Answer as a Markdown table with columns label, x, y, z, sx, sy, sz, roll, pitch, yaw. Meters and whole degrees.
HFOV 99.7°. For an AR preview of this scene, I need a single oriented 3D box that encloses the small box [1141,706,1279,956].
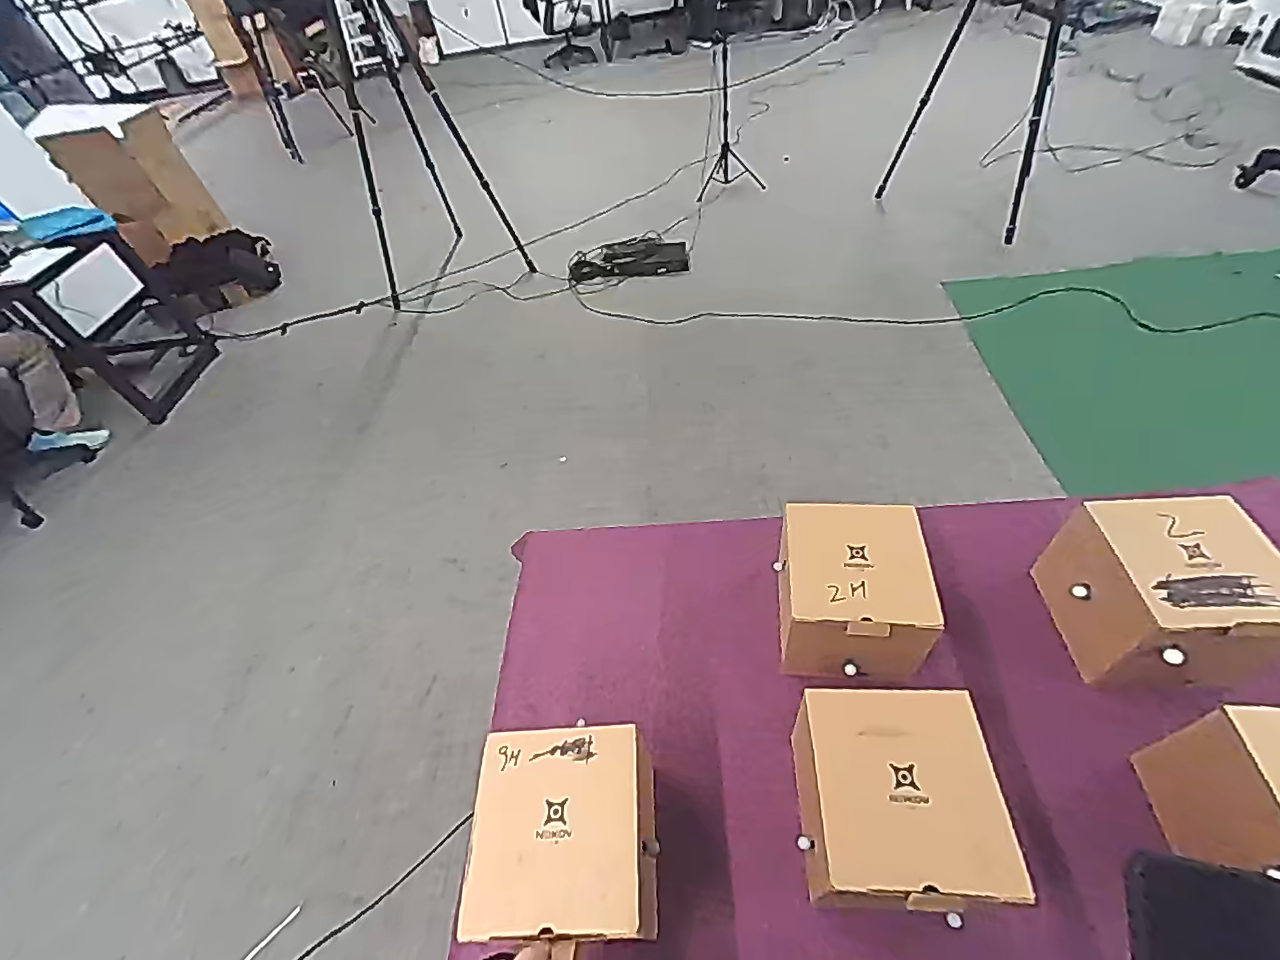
| label | x | y | z | sx | sy | sz | roll | pitch | yaw |
| --- | --- | --- | --- | --- | --- | --- | --- | --- | --- |
| small box | 0.634 | 0.332 | 0.503 | 0.168 | 0.176 | 0.179 | -1 | 49 | 10 |

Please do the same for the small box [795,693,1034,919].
| label | x | y | z | sx | sy | sz | roll | pitch | yaw |
| --- | --- | --- | --- | --- | --- | --- | --- | --- | --- |
| small box | 0.261 | 0.341 | 0.566 | 0.168 | 0.176 | 0.179 | -3 | 48 | 8 |

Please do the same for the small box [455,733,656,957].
| label | x | y | z | sx | sy | sz | roll | pitch | yaw |
| --- | --- | --- | --- | --- | --- | --- | --- | --- | --- |
| small box | -0.074 | 0.391 | 0.581 | 0.168 | 0.176 | 0.179 | -6 | 49 | 4 |

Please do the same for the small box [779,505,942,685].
| label | x | y | z | sx | sy | sz | roll | pitch | yaw |
| --- | --- | --- | --- | --- | --- | --- | --- | --- | --- |
| small box | 0.277 | 0.153 | 0.726 | 0.168 | 0.176 | 0.179 | 0 | 50 | 11 |
